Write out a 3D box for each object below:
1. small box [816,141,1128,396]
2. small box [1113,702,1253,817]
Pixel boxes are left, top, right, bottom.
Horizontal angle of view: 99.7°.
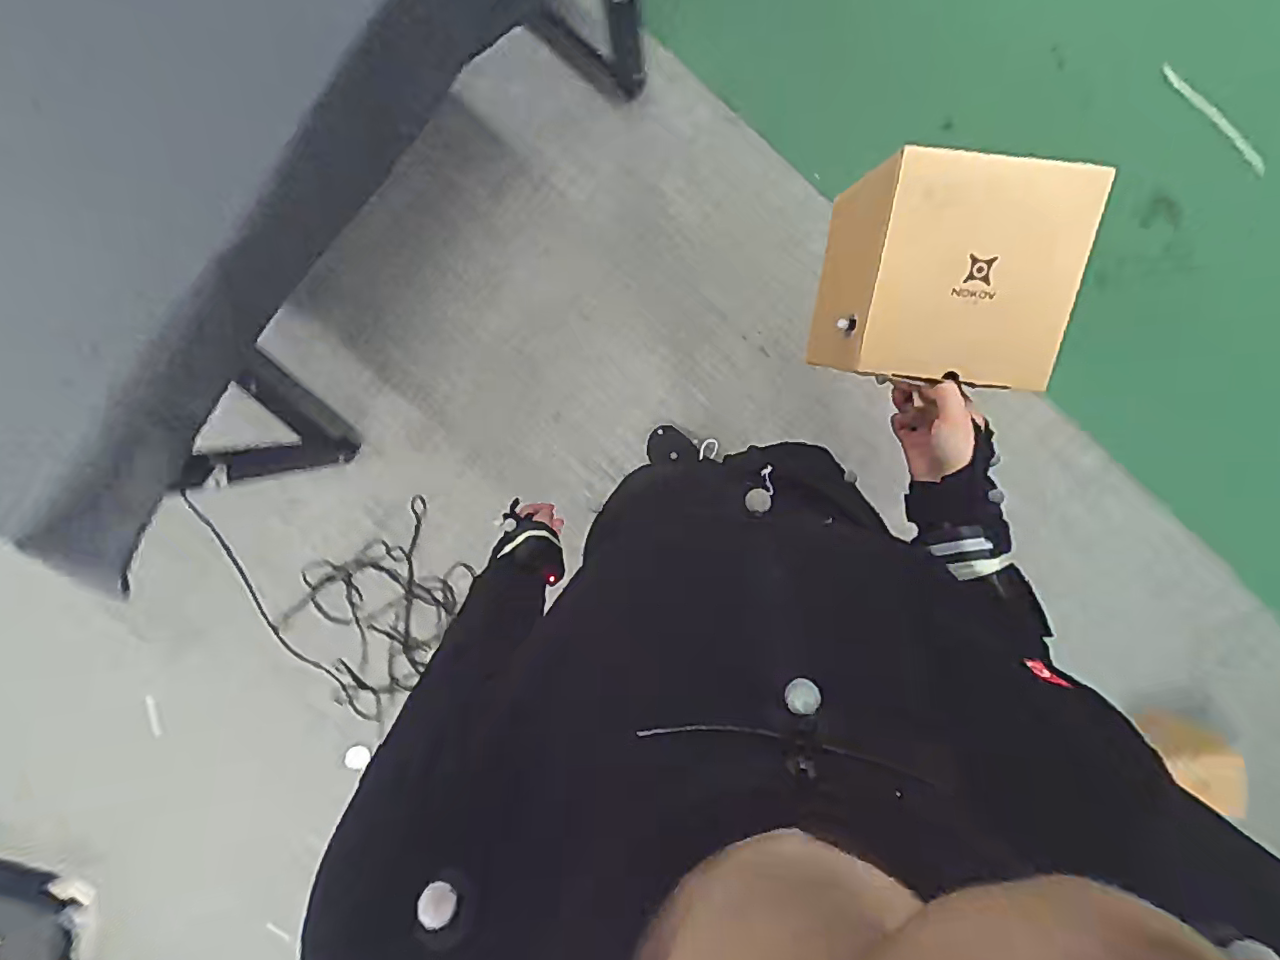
[{"bbox_3d":[0.282,-0.186,0.509,0.168,0.176,0.179,7,108,-1],"label":"small box"},{"bbox_3d":[1.274,0.657,1.286,0.179,0.176,0.168,-13,98,4],"label":"small box"}]
